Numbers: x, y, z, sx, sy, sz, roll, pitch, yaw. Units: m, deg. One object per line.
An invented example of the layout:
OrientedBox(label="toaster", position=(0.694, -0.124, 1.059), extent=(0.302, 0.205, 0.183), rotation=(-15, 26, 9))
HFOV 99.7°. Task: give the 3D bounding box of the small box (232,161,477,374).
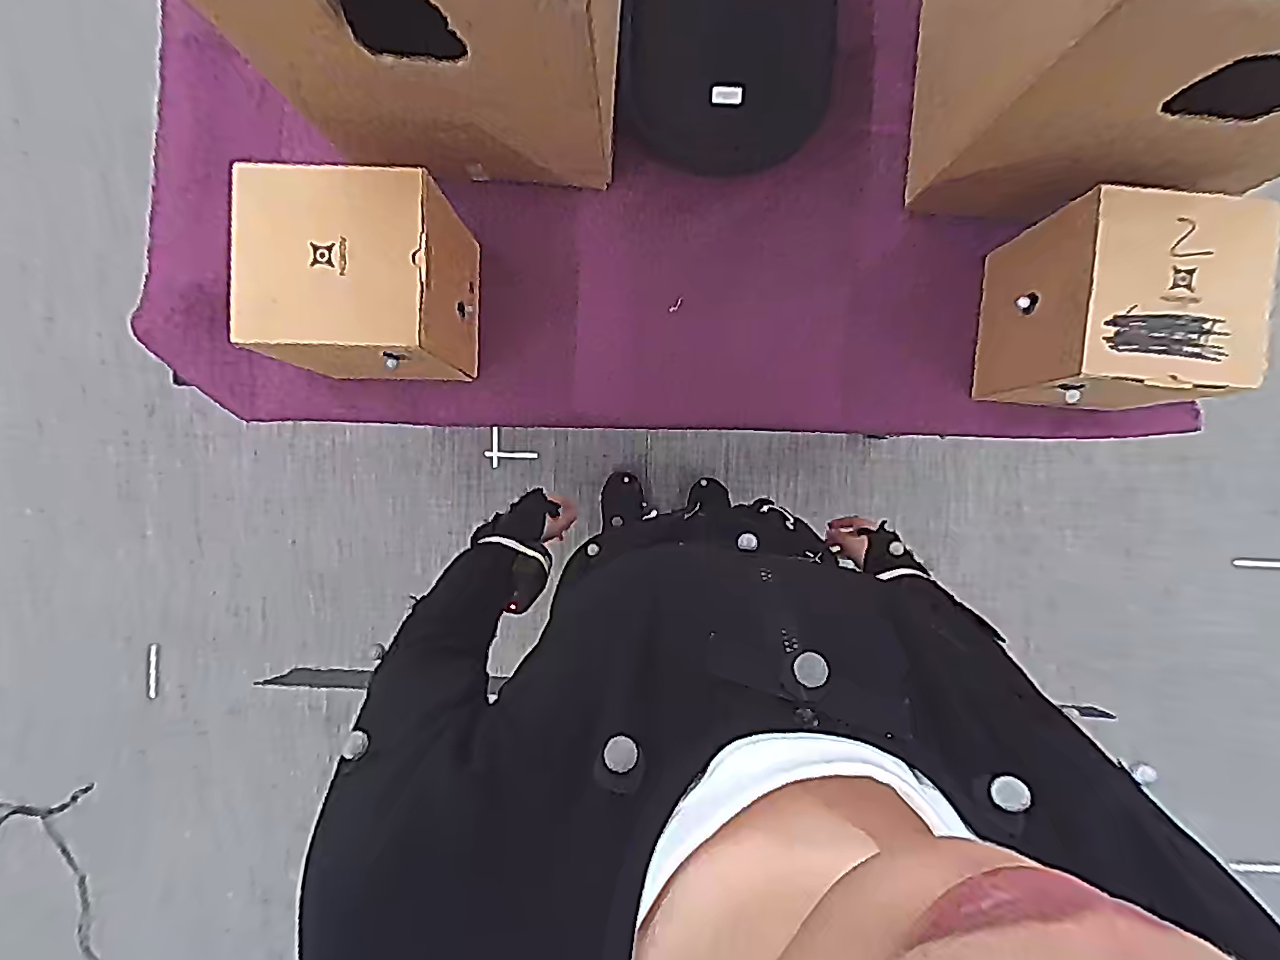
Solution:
OrientedBox(label="small box", position=(-0.289, -0.210, 0.579), extent=(0.179, 0.176, 0.168), rotation=(1, 91, -1))

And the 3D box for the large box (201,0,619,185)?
OrientedBox(label="large box", position=(-0.175, -0.556, 0.500), extent=(0.320, 0.320, 0.408), rotation=(4, 94, 0))
